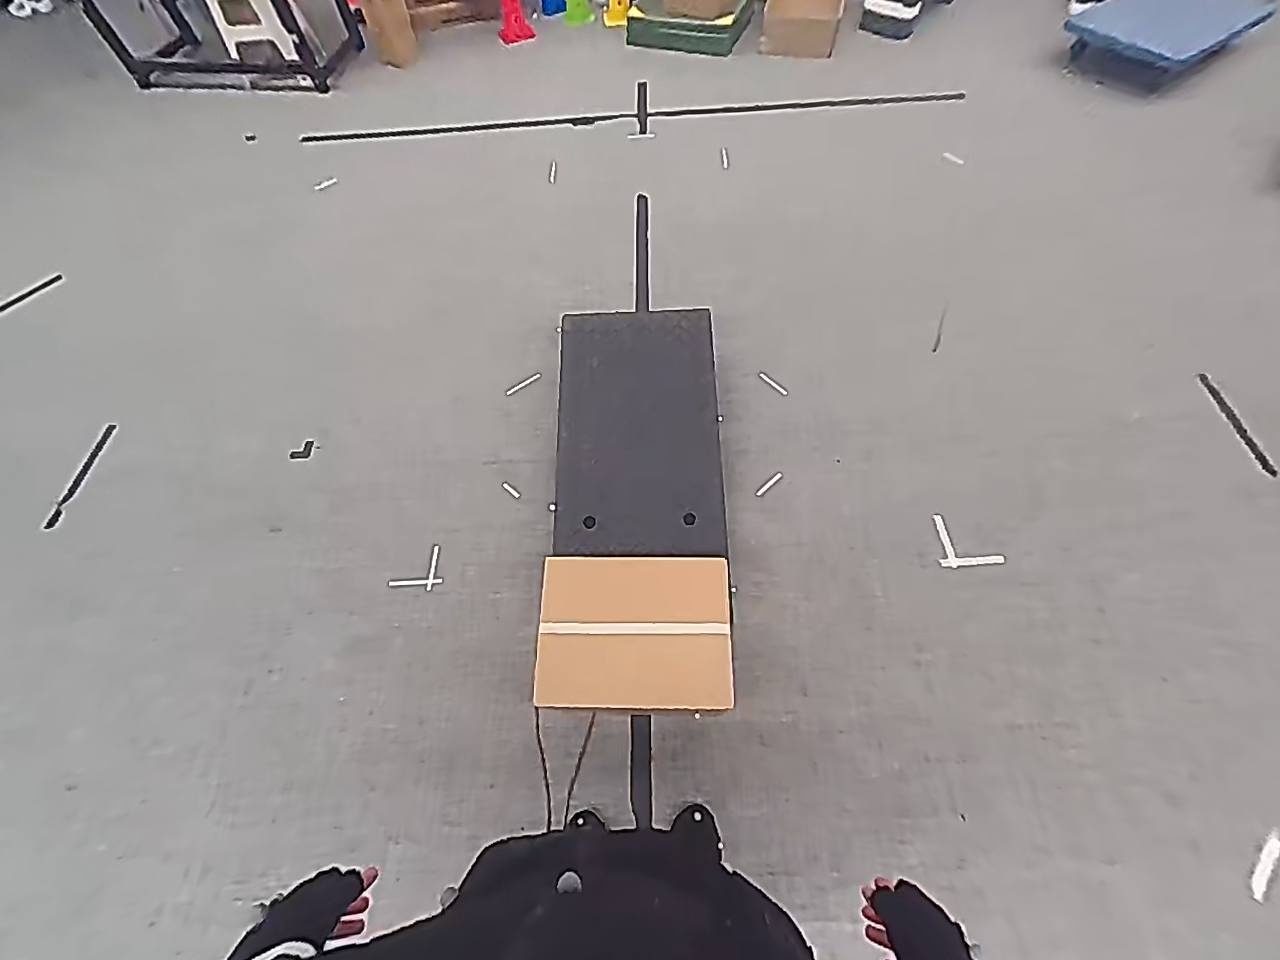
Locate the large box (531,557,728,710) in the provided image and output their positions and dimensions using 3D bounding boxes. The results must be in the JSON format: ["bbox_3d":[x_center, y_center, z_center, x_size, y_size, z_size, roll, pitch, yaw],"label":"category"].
[{"bbox_3d":[-0.016,0.376,1.280,0.408,0.320,0.320,0,64,2],"label":"large box"}]

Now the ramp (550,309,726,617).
[{"bbox_3d":[-0.013,-0.085,1.622,0.509,0.206,0.991,-2,61,0],"label":"ramp"}]
